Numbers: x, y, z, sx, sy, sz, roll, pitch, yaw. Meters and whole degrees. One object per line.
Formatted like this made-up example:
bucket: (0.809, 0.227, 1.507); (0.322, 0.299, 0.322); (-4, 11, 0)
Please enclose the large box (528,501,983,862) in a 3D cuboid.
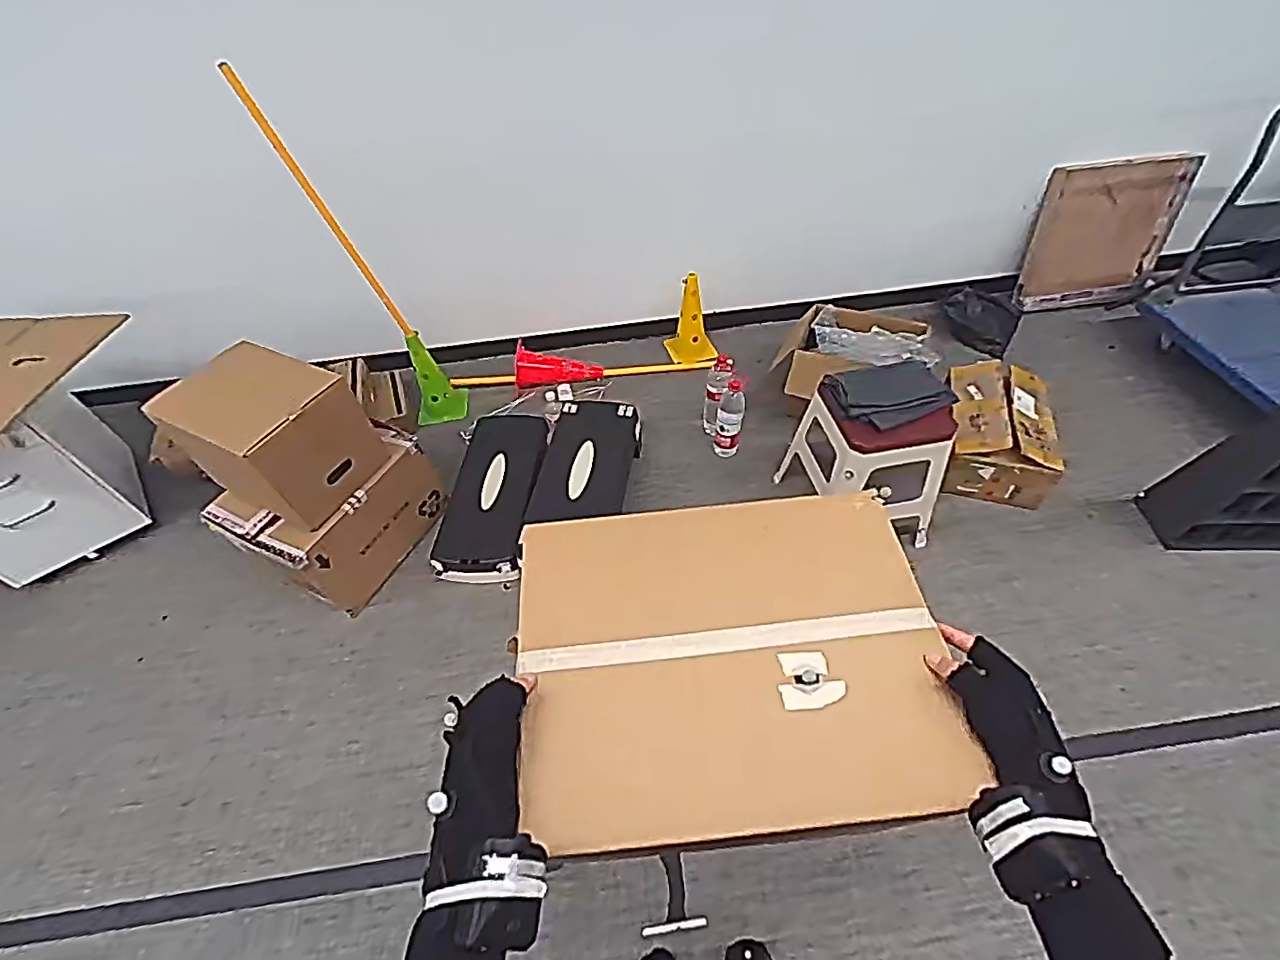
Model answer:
large box: (0.091, 0.256, 0.665); (0.408, 0.320, 0.320); (-6, 55, -1)
